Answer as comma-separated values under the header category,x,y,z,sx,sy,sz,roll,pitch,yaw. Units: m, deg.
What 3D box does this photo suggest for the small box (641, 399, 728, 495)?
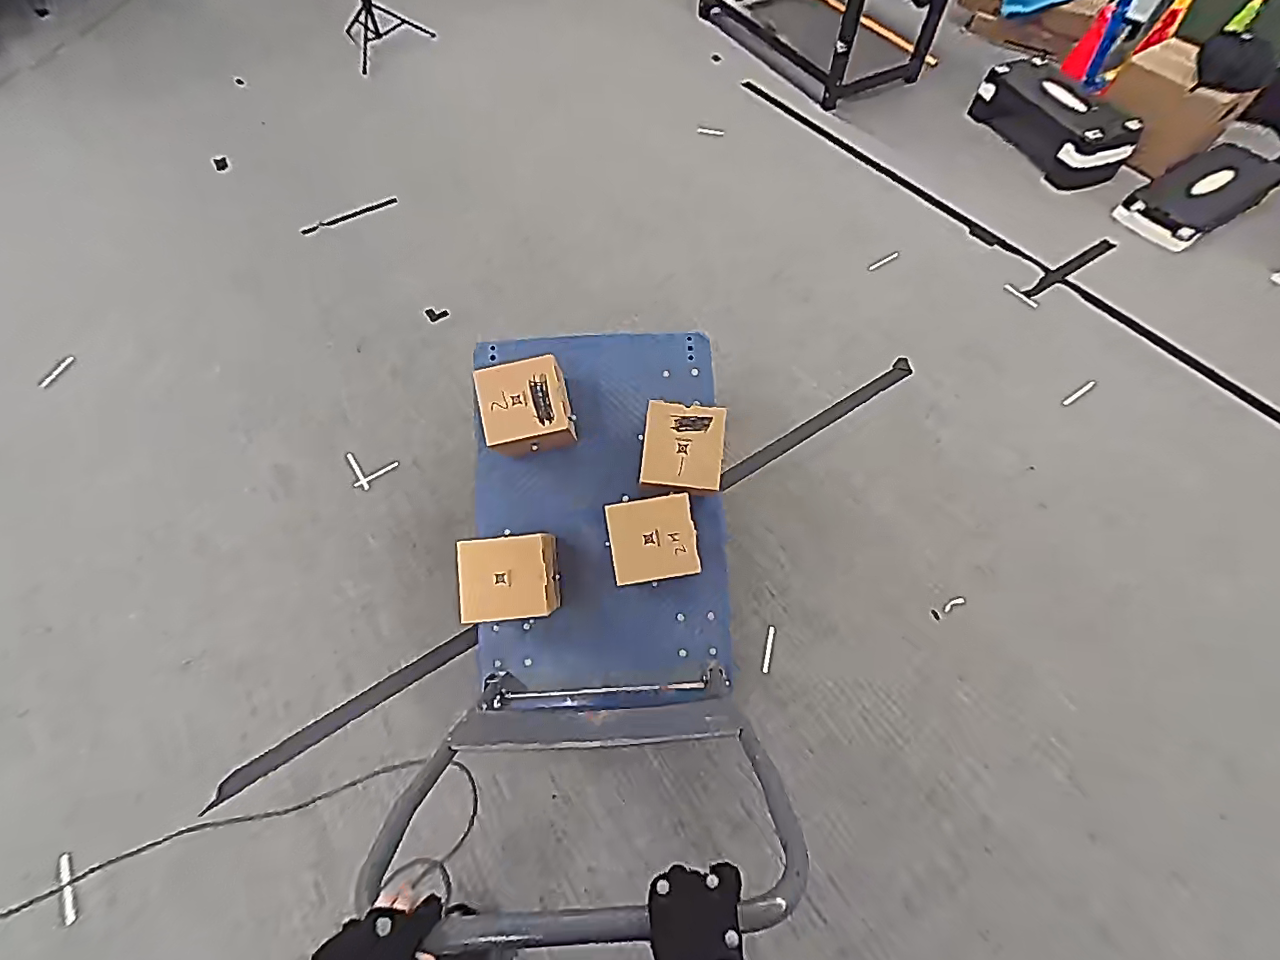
category,x,y,z,sx,sy,sz,roll,pitch,yaw
small box,0.092,-0.067,1.196,0.168,0.176,0.179,6,84,1

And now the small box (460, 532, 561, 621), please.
category,x,y,z,sx,sy,sz,roll,pitch,yaw
small box,-0.273,0.205,1.165,0.179,0.176,0.168,-6,83,-2

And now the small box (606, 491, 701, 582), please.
category,x,y,z,sx,sy,sz,roll,pitch,yaw
small box,0.028,0.125,1.174,0.179,0.176,0.168,-9,84,-1
